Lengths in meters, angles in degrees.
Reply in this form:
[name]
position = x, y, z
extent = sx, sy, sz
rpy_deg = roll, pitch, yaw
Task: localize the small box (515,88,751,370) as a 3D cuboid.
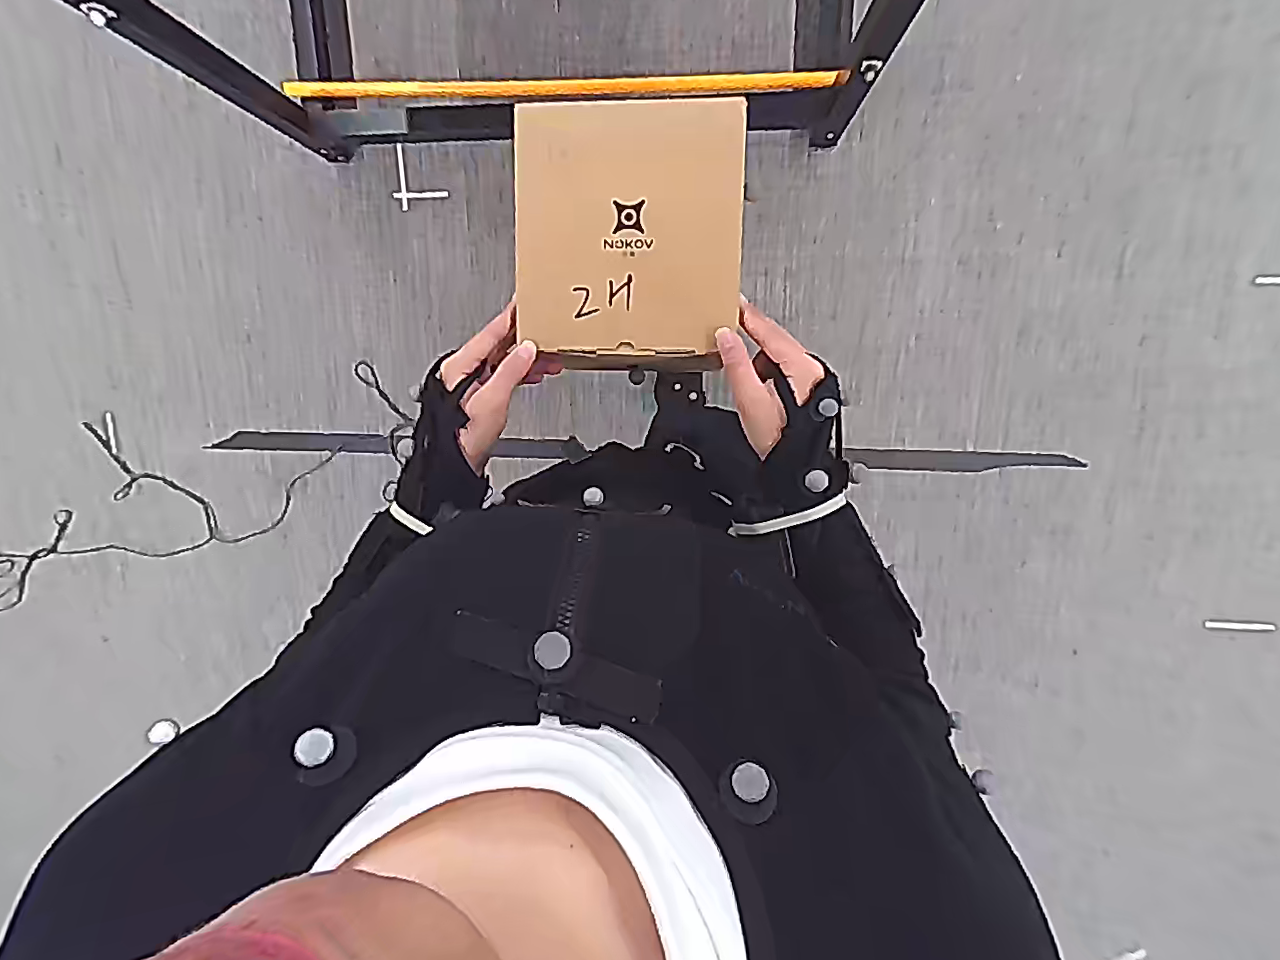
[small box]
position = -0.002, -0.195, 0.466
extent = 0.168, 0.176, 0.179
rpy_deg = 2, 96, 5
